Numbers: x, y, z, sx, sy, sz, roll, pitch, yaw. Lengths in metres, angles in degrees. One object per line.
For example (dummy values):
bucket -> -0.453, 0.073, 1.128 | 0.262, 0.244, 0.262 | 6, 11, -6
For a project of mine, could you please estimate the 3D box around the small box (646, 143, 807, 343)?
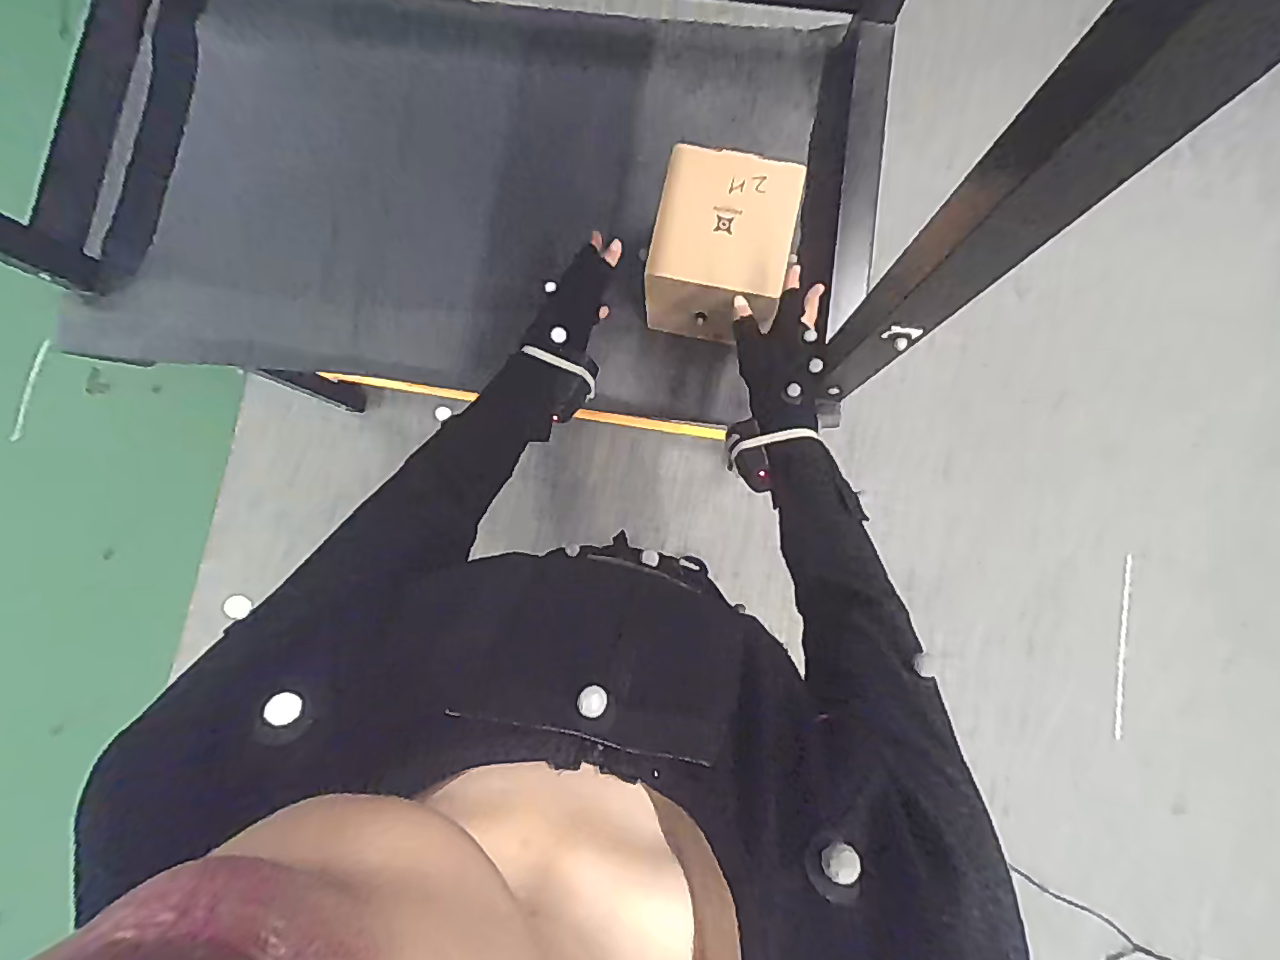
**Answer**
small box -> 0.109, -0.304, 0.729 | 0.168, 0.176, 0.179 | 12, 84, 3
